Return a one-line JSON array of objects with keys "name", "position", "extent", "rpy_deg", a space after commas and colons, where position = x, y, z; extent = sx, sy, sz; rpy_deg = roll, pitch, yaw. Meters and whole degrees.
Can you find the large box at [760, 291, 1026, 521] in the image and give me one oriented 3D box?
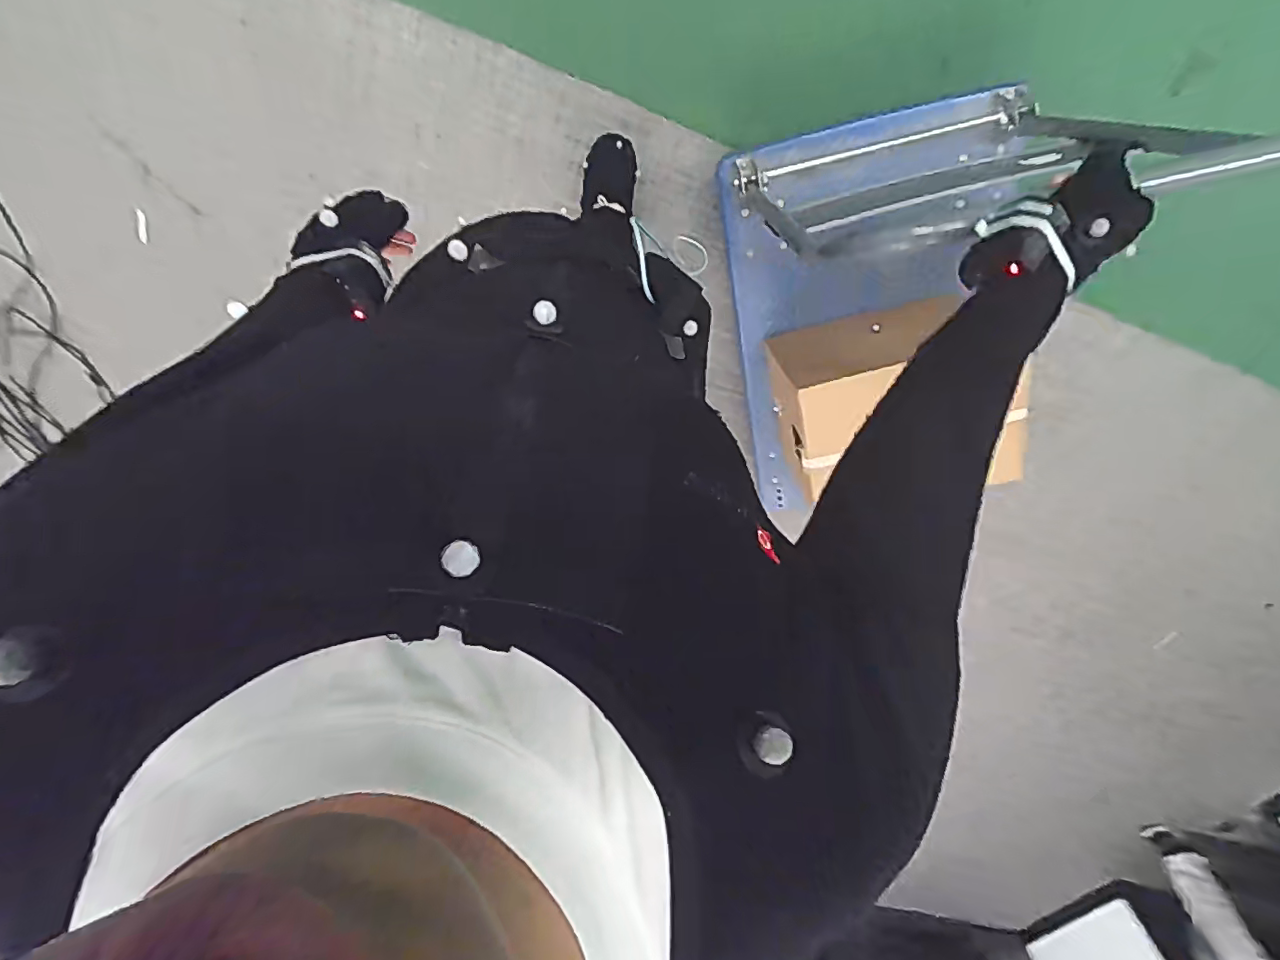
[{"name": "large box", "position": [0.507, -0.165, 1.146], "extent": [0.408, 0.320, 0.320], "rpy_deg": [-15, 122, 8]}]
